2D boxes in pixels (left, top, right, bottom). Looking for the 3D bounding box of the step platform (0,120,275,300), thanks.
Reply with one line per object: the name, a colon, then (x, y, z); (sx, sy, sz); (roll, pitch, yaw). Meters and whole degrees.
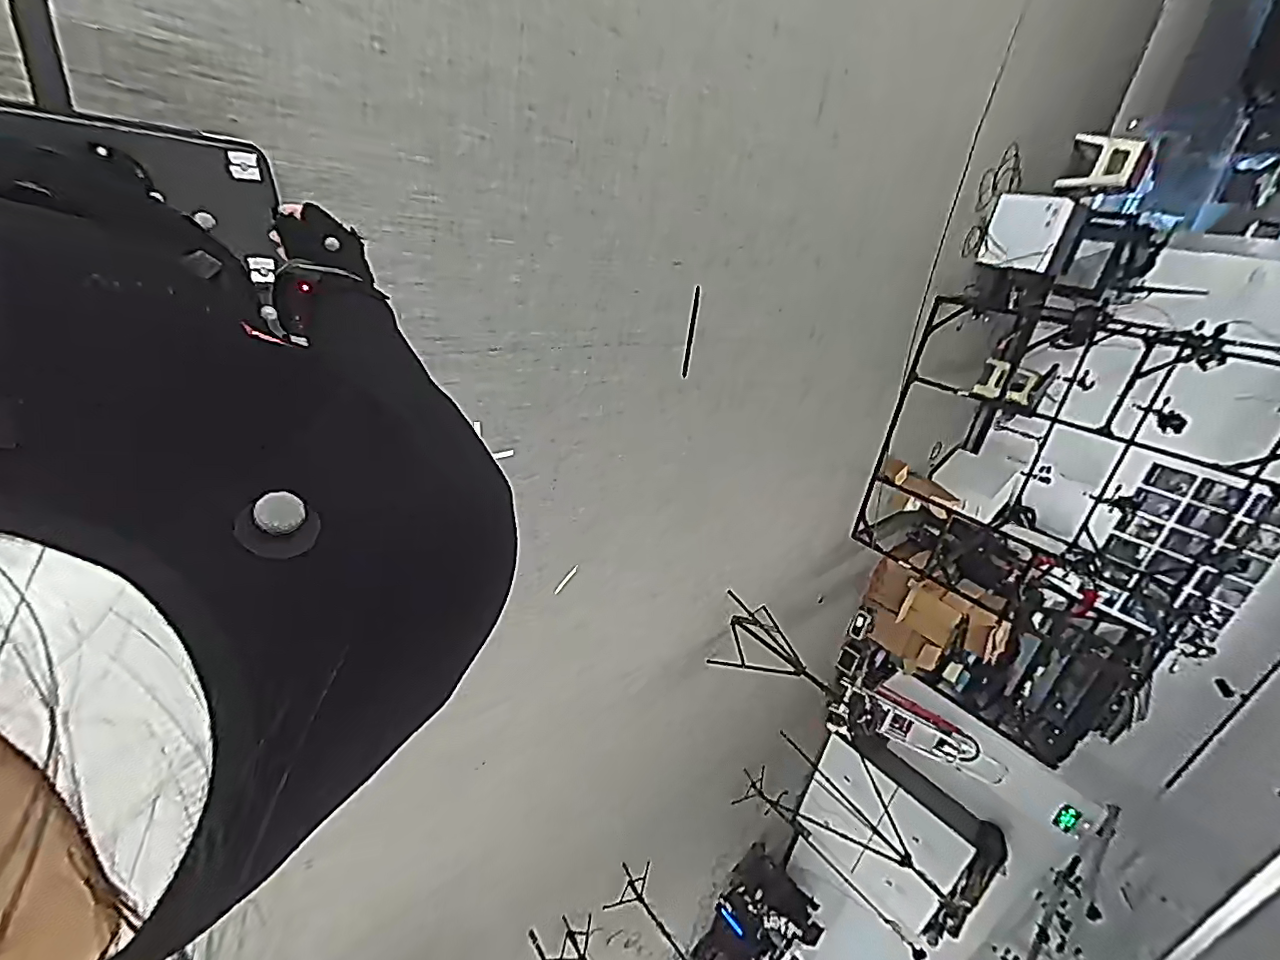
step platform: (-1.086, -0.493, 0.994); (0.684, 0.204, 0.286); (-16, 125, -40)
